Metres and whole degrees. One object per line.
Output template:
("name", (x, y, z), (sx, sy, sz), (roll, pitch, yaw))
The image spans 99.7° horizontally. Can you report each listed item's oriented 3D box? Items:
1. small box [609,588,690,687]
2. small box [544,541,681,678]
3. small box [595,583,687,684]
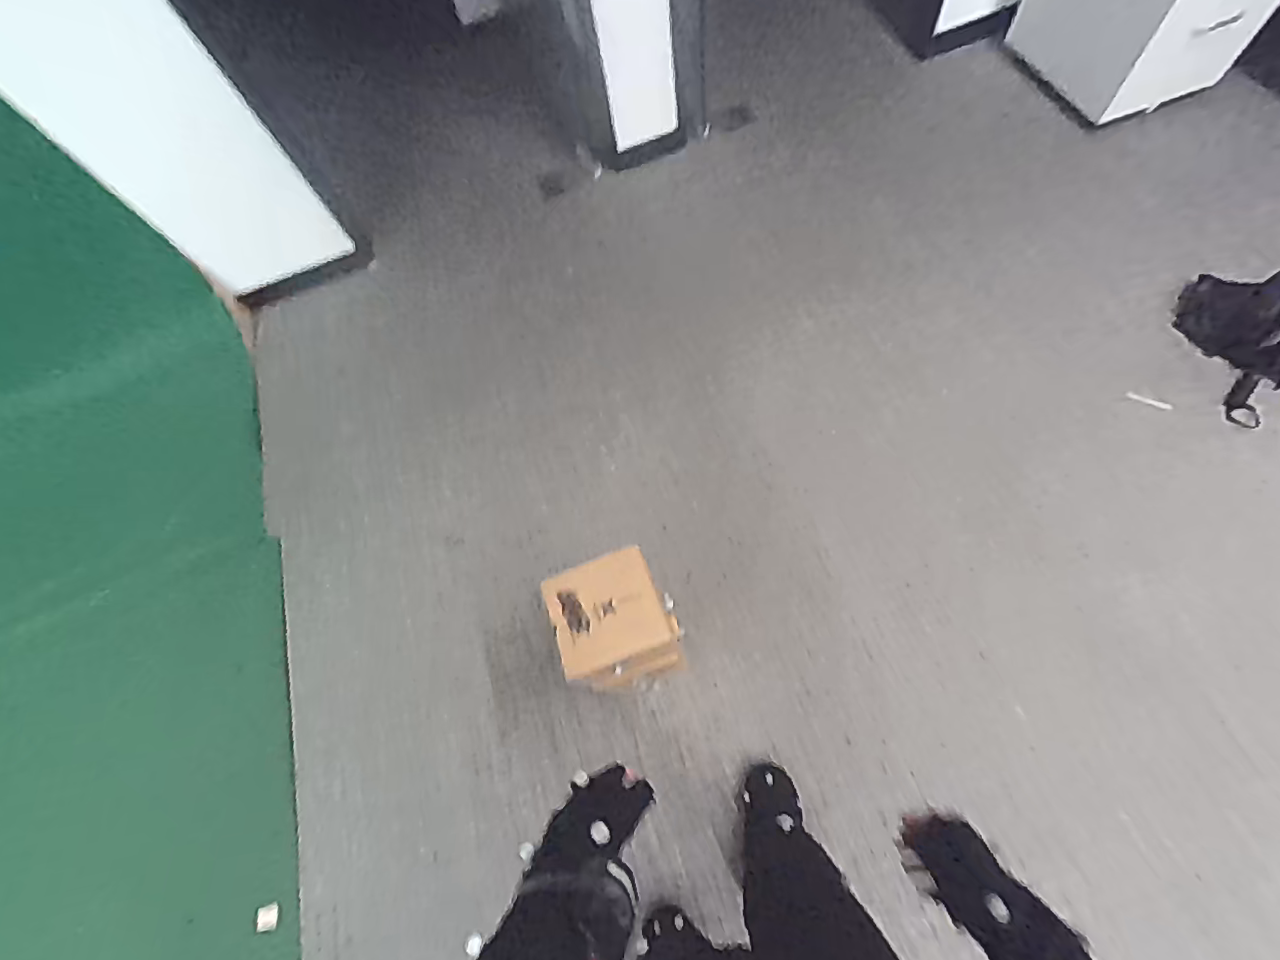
("small box", (0.011, 0.361, 1.226), (0.179, 0.176, 0.168), (-18, 65, 2))
("small box", (-0.042, 0.230, 0.931), (0.179, 0.176, 0.168), (-21, 65, 1))
("small box", (-0.013, 0.295, 1.079), (0.168, 0.176, 0.179), (-20, 66, 3))
